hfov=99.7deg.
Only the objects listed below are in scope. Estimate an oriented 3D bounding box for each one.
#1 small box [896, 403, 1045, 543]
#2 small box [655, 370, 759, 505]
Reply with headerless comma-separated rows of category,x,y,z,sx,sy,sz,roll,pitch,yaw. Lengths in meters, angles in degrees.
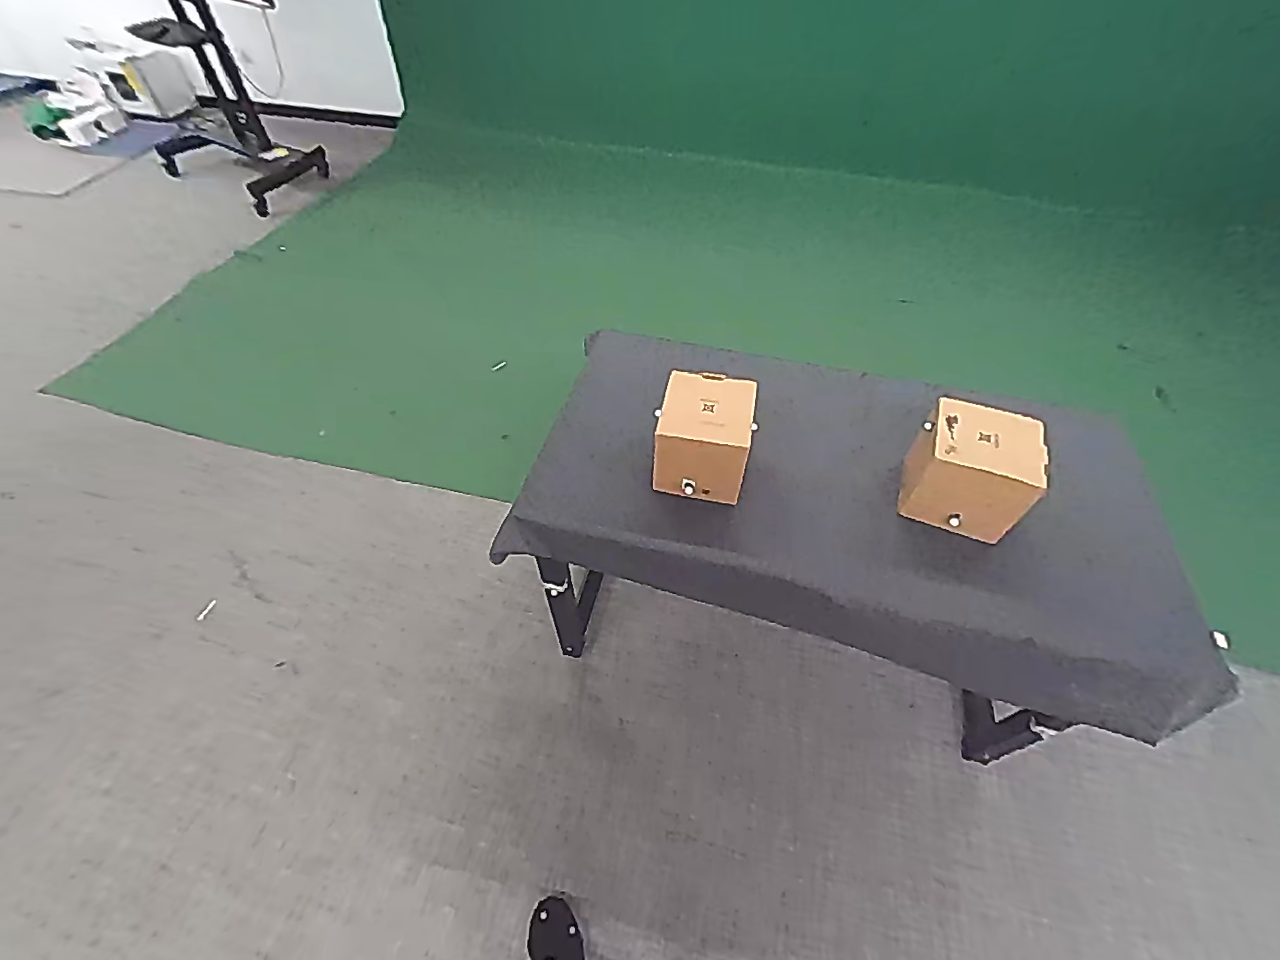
small box,0.600,-0.007,0.993,0.179,0.176,0.168,19,53,13
small box,0.123,-0.080,1.024,0.168,0.176,0.179,10,51,9
